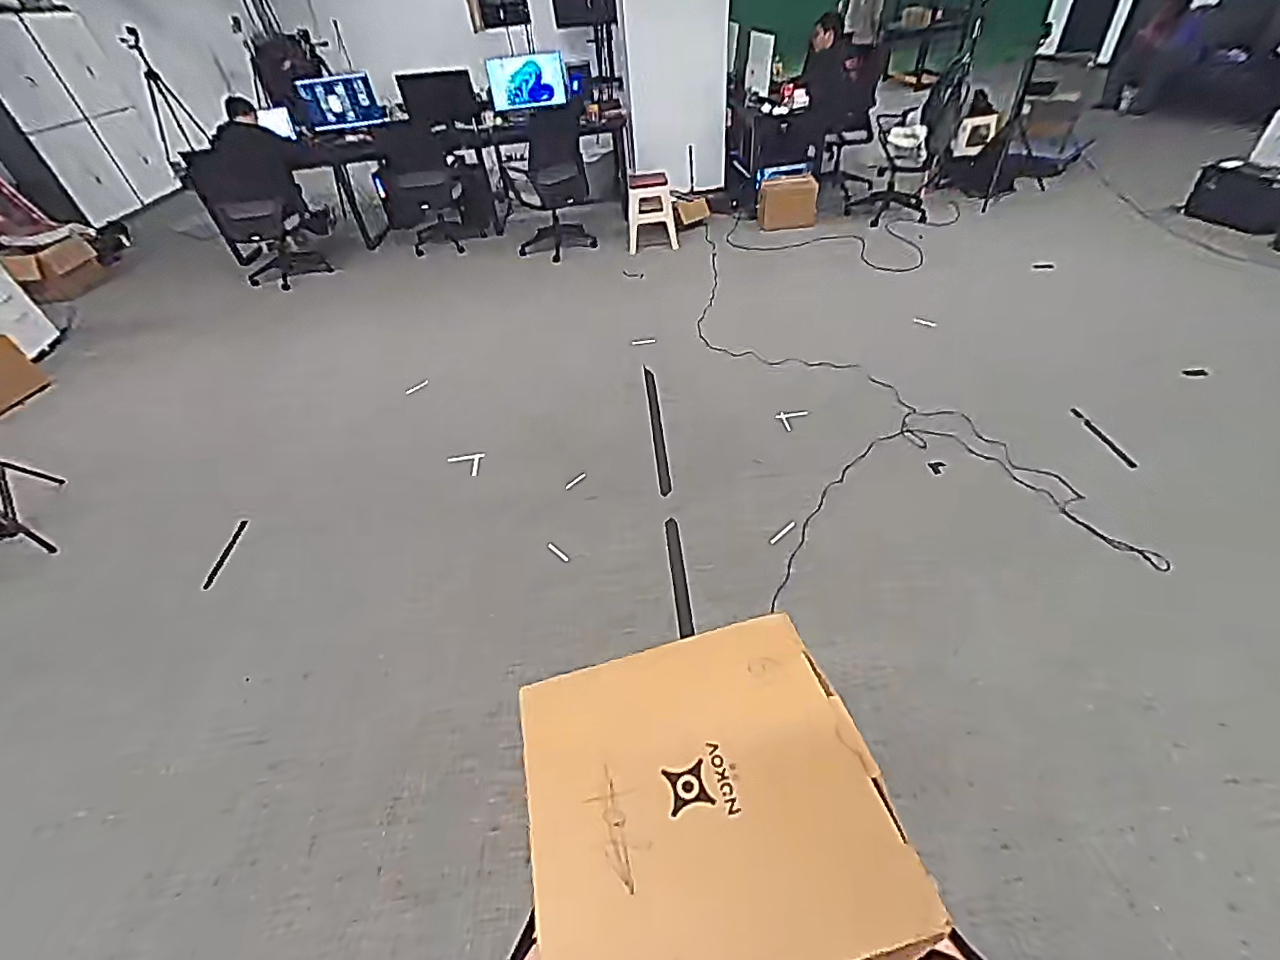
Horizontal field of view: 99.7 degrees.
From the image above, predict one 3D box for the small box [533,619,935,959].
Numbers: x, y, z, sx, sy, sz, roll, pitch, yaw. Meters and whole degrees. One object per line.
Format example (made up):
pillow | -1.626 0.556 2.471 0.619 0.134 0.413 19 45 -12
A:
small box | 0.043 0.222 0.344 0.179 0.176 0.168 -15 40 -5
